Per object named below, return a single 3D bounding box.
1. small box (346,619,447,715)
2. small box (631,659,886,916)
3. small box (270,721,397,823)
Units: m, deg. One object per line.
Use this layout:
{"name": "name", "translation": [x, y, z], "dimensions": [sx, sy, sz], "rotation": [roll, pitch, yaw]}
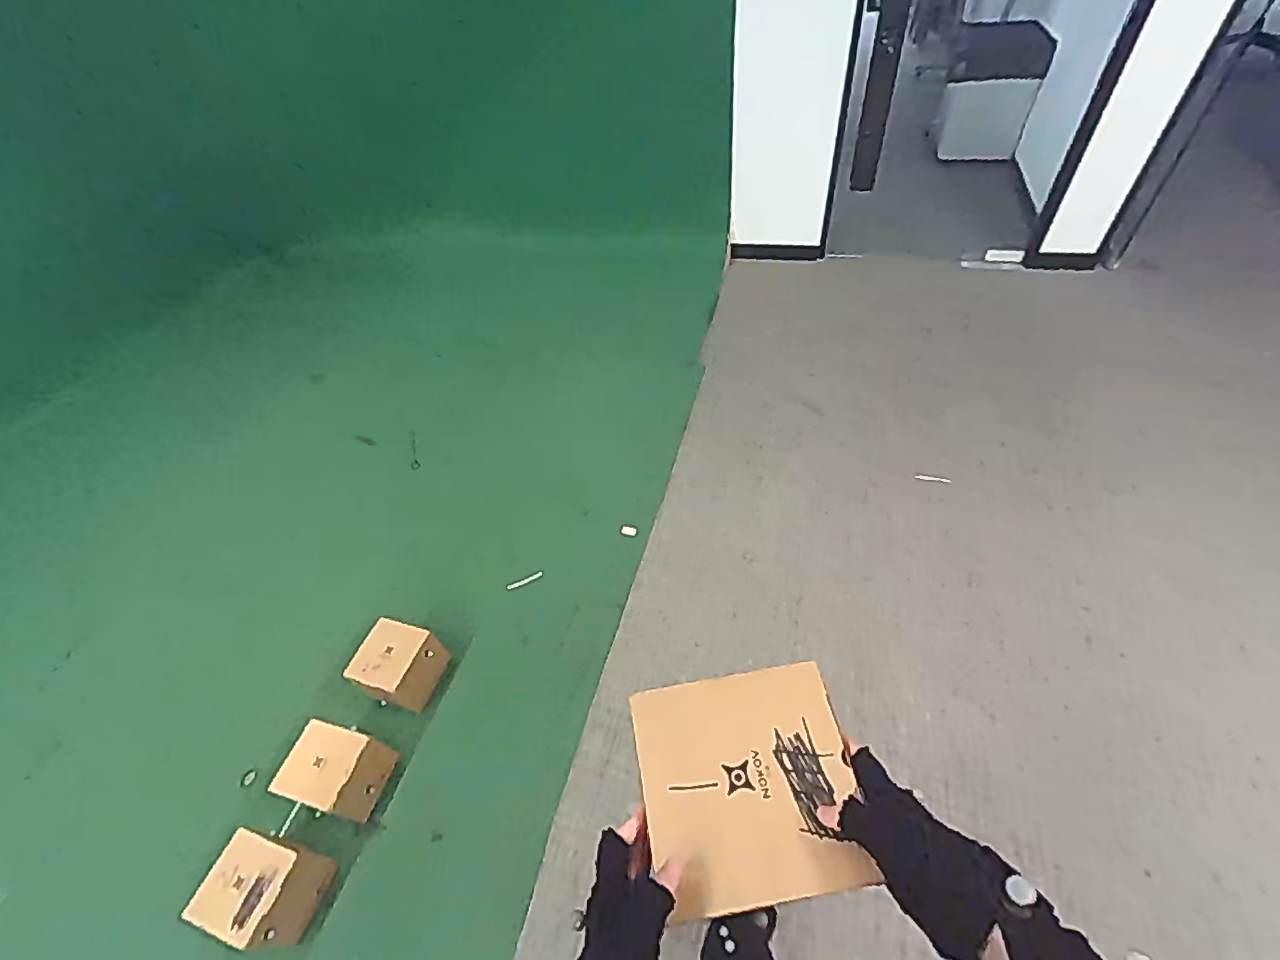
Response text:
{"name": "small box", "translation": [-0.660, 0.518, 1.496], "dimensions": [0.168, 0.176, 0.179], "rotation": [10, 51, 16]}
{"name": "small box", "translation": [0.090, 0.287, 0.506], "dimensions": [0.179, 0.176, 0.168], "rotation": [-9, 52, -3]}
{"name": "small box", "translation": [-0.744, 0.722, 1.332], "dimensions": [0.179, 0.176, 0.168], "rotation": [9, 51, 14]}
